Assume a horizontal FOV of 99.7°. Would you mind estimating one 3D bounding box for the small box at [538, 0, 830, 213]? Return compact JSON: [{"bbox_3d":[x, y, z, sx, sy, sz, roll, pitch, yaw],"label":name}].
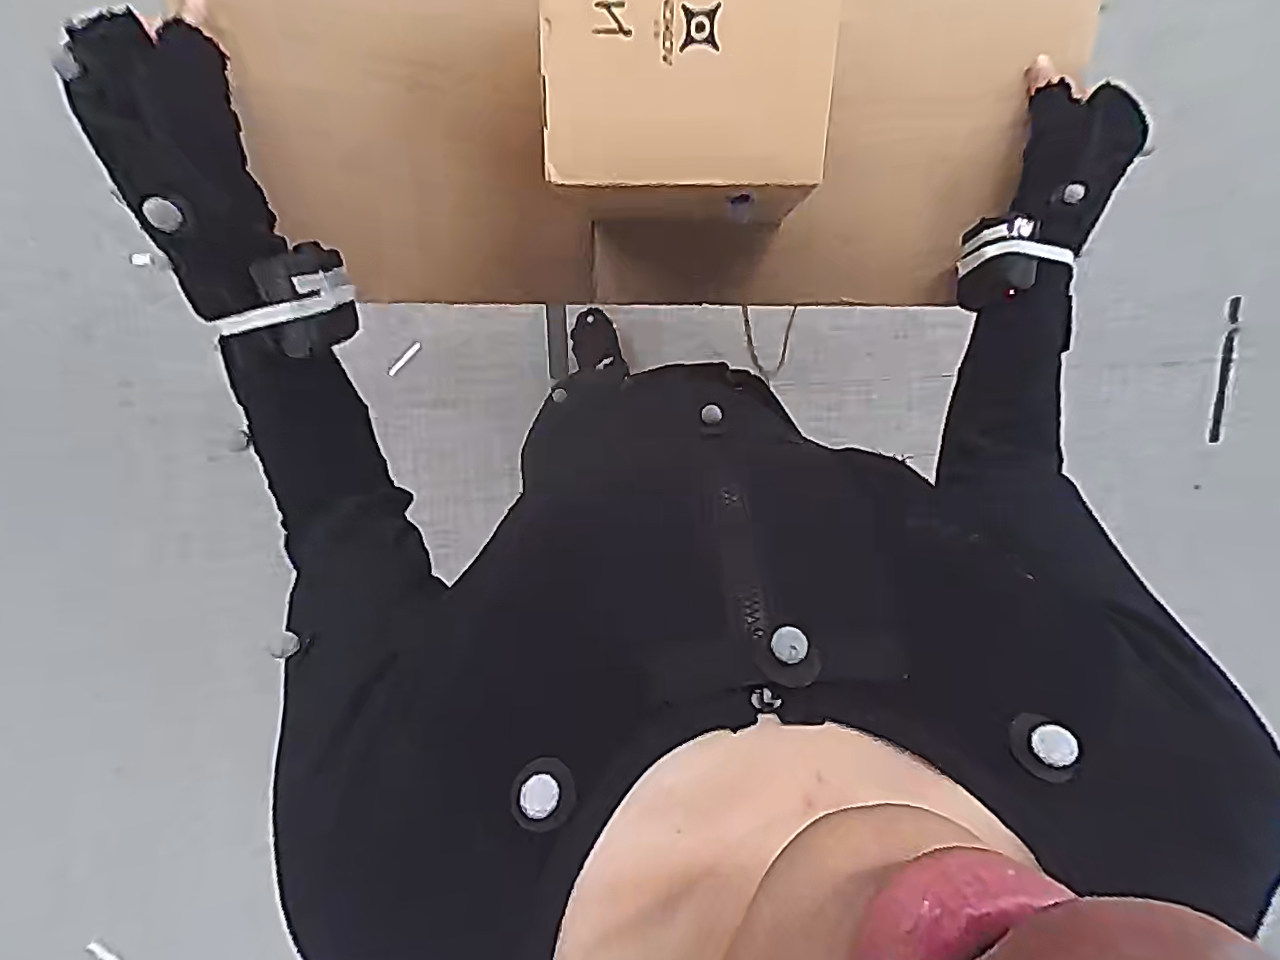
[{"bbox_3d":[0.032,-0.302,0.397,0.179,0.176,0.168,4,108,5],"label":"small box"}]
